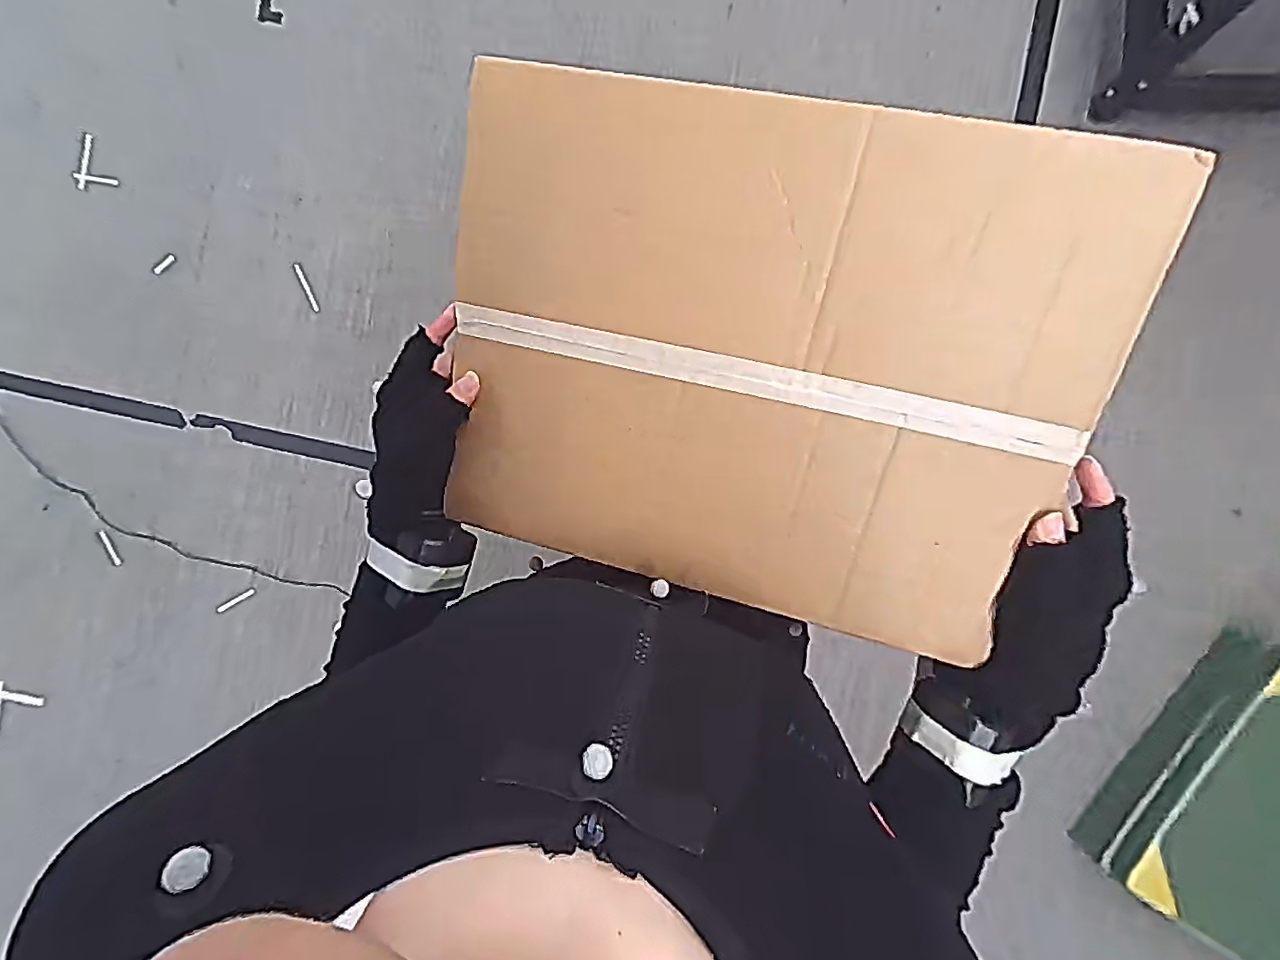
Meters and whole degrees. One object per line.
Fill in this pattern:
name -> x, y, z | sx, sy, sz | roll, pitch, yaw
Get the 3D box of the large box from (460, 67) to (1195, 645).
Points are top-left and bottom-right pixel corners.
large box -> 0.103, -0.113, 0.494 | 0.408, 0.320, 0.320 | 15, 109, 9
